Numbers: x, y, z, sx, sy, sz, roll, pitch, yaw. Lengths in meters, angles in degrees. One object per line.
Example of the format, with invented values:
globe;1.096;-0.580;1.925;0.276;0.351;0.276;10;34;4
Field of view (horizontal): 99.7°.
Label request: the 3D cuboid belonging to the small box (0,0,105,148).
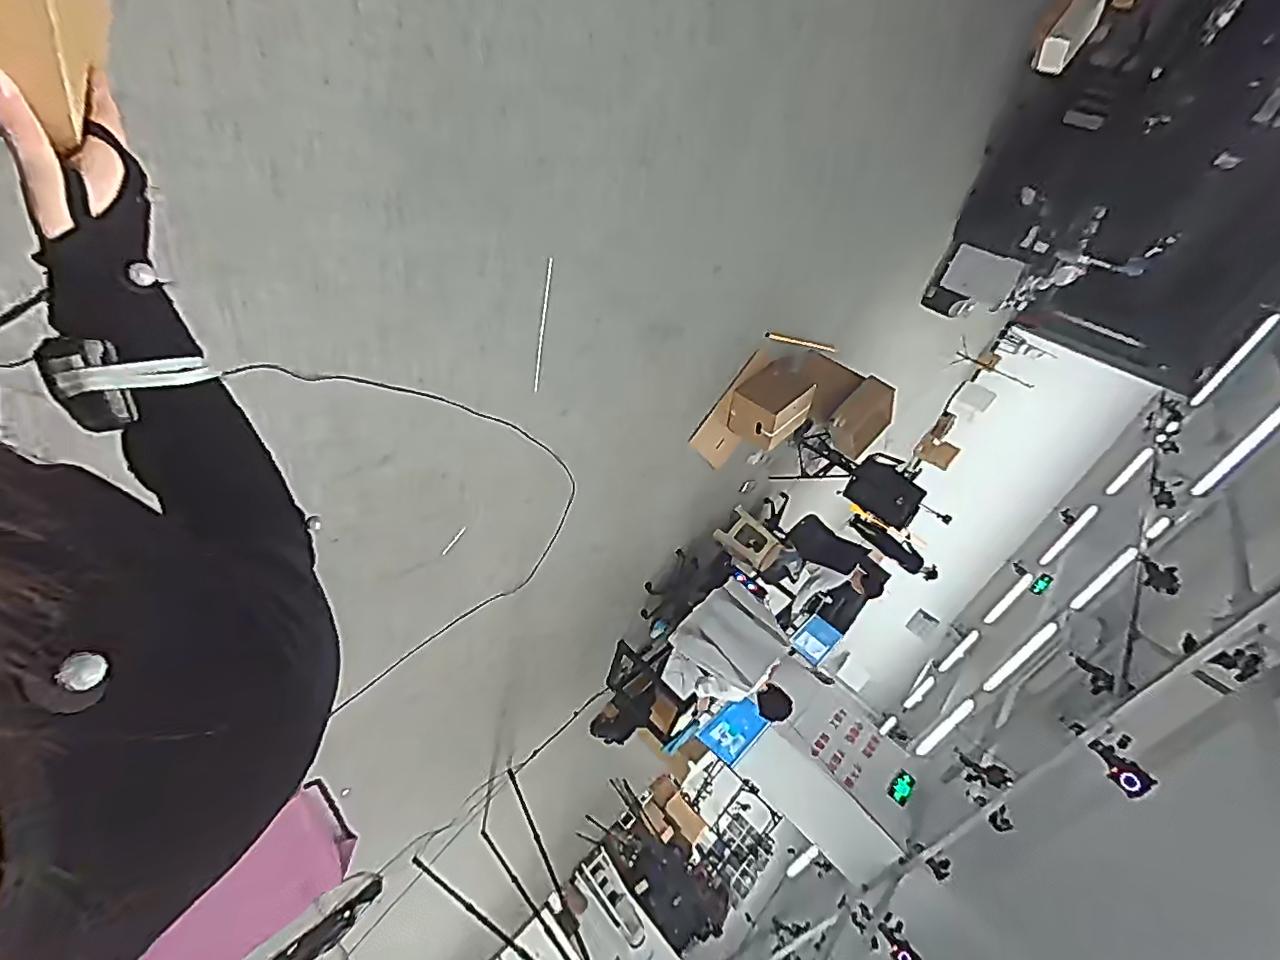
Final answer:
small box;-0.427;-0.336;0.290;0.179;0.176;0.168;2;152;-38
